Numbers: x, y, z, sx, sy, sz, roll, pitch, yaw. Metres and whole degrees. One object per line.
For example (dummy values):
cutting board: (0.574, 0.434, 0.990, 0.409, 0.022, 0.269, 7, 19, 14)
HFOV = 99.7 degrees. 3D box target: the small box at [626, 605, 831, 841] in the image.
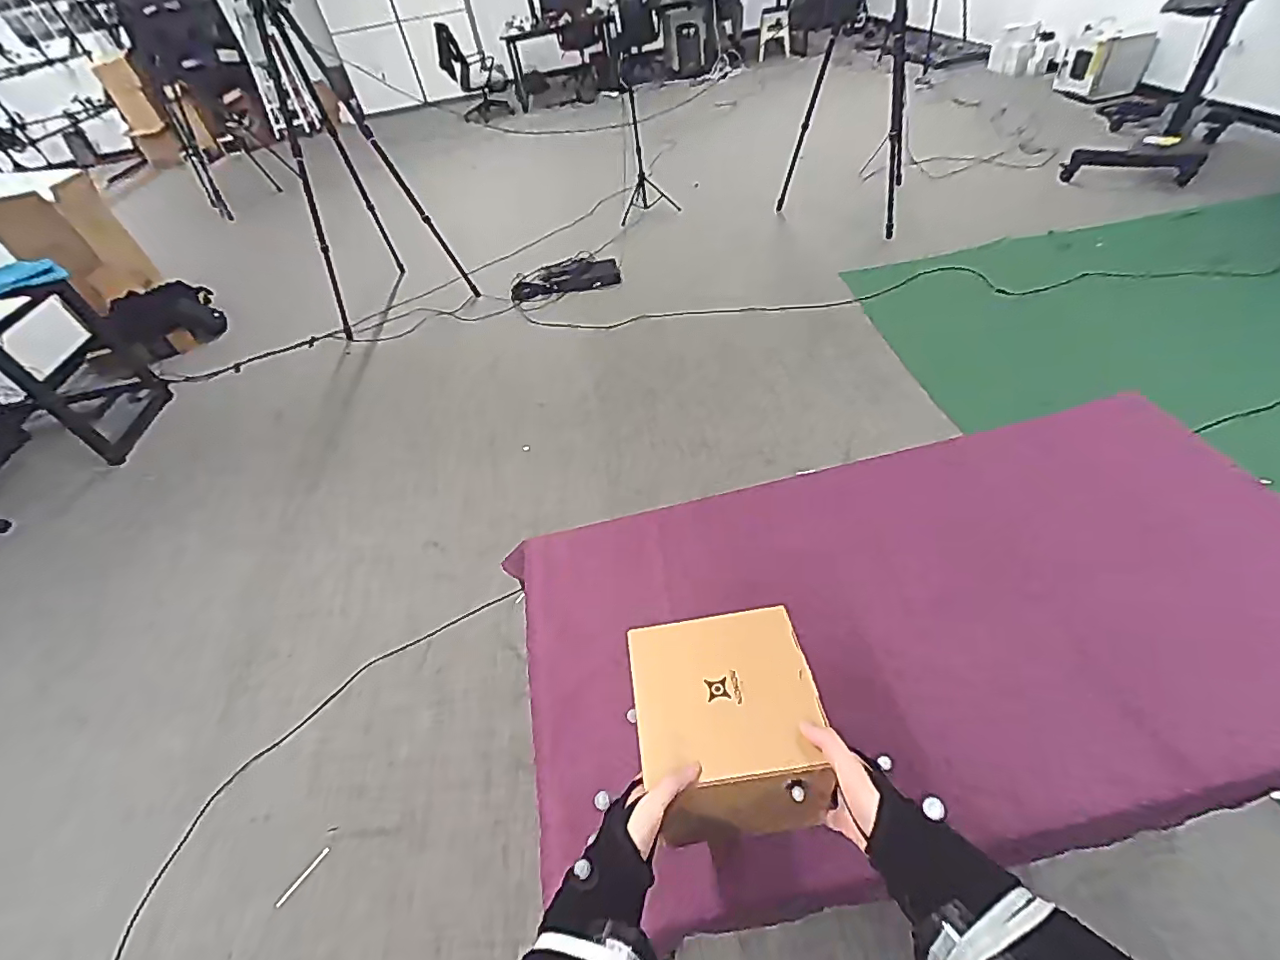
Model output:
small box: (0.089, 0.264, 0.585, 0.179, 0.176, 0.168, -10, 41, 0)
